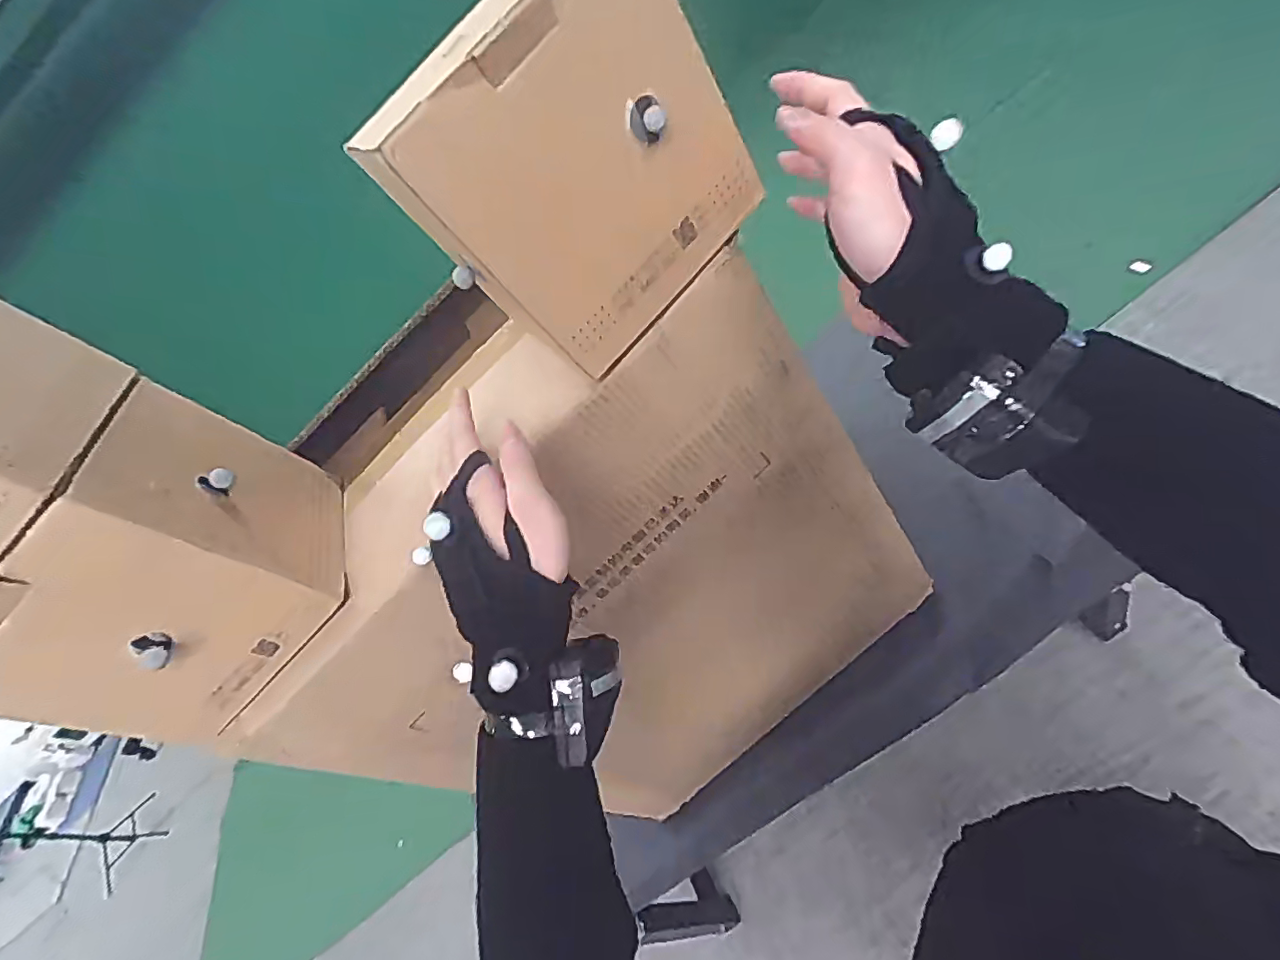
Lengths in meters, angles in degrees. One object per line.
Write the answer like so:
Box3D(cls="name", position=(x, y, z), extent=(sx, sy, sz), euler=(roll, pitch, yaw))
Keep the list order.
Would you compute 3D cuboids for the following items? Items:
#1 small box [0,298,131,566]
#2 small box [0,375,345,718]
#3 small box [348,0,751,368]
Box3D(cls="small box", position=(-0.445, -0.022, 0.304), extent=(0.168, 0.176, 0.179), euler=(-45, 43, 7))
Box3D(cls="small box", position=(-0.352, 0.058, 0.414), extent=(0.168, 0.176, 0.179), euler=(-45, 43, 5))
Box3D(cls="small box", position=(-0.058, -0.200, 0.358), extent=(0.168, 0.176, 0.179), euler=(-46, 41, 0))
